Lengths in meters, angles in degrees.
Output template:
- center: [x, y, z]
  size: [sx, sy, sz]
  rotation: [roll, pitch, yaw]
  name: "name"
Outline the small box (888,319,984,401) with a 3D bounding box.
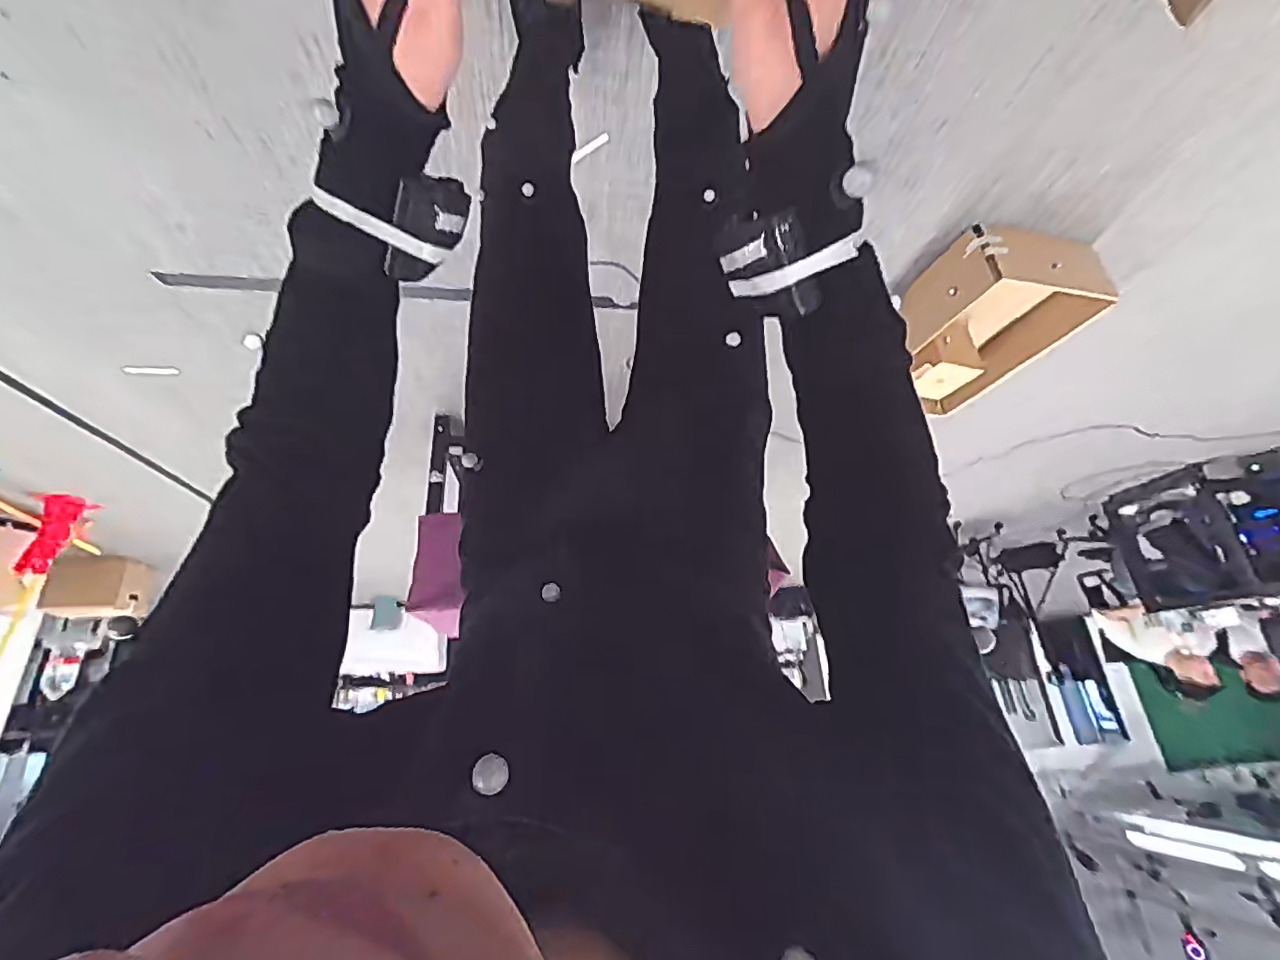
- center: [0.895, -0.367, 1.651]
  size: [0.179, 0.176, 0.168]
  rotation: [6, 155, -21]
  name: "small box"
